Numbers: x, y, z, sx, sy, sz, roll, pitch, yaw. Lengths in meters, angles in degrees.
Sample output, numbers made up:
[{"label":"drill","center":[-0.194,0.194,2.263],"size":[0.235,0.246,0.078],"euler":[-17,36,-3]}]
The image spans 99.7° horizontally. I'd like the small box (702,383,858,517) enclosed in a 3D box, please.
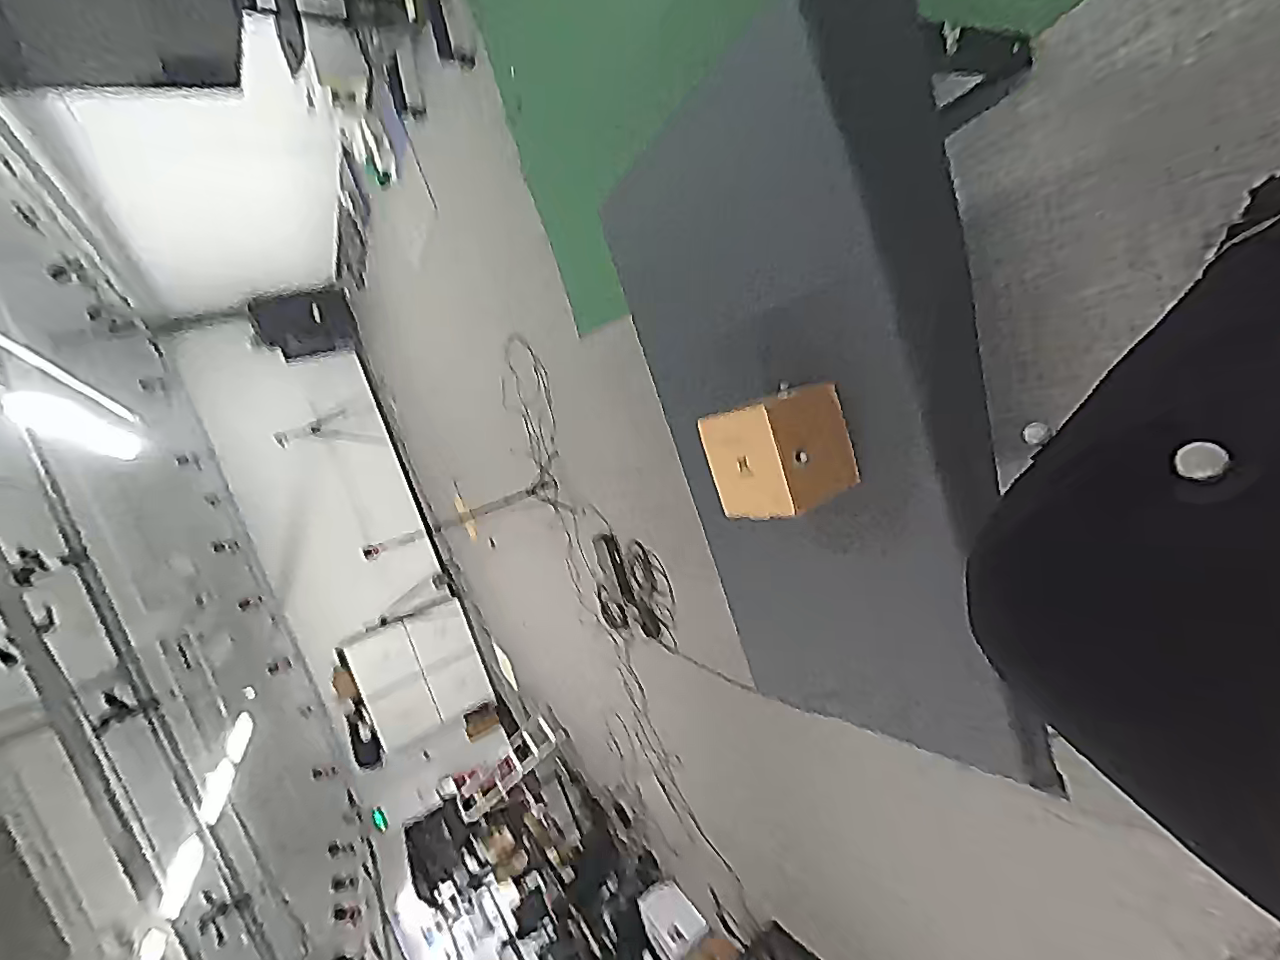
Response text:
[{"label":"small box","center":[0.238,-0.048,0.914],"size":[0.168,0.176,0.179],"euler":[-9,100,59]}]
